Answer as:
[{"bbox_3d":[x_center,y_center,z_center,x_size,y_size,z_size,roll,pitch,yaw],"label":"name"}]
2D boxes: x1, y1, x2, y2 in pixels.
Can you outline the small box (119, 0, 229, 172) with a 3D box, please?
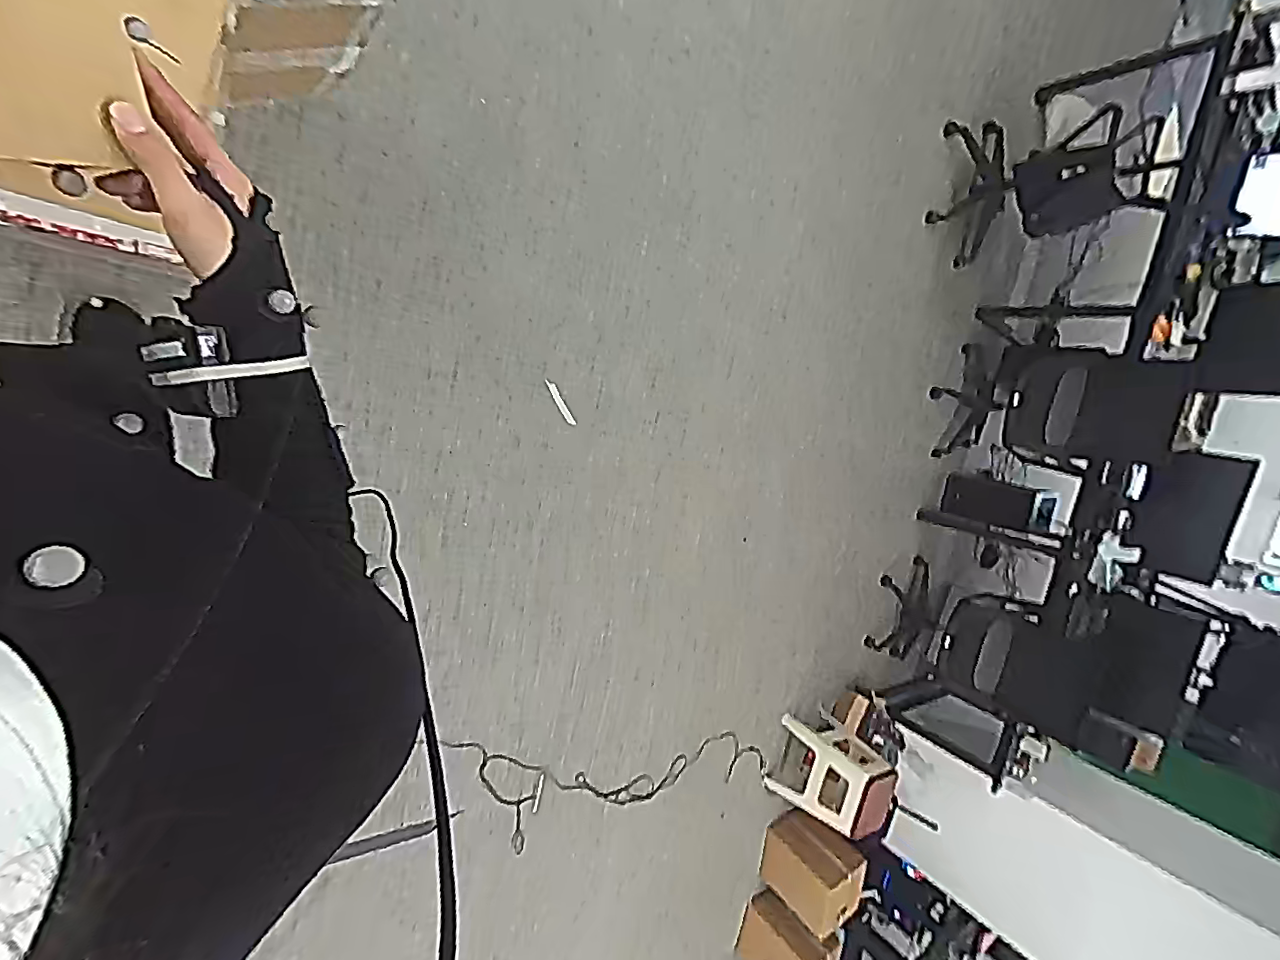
[{"bbox_3d":[-0.526,-0.426,0.518,0.179,0.176,0.168,15,96,-43],"label":"small box"}]
